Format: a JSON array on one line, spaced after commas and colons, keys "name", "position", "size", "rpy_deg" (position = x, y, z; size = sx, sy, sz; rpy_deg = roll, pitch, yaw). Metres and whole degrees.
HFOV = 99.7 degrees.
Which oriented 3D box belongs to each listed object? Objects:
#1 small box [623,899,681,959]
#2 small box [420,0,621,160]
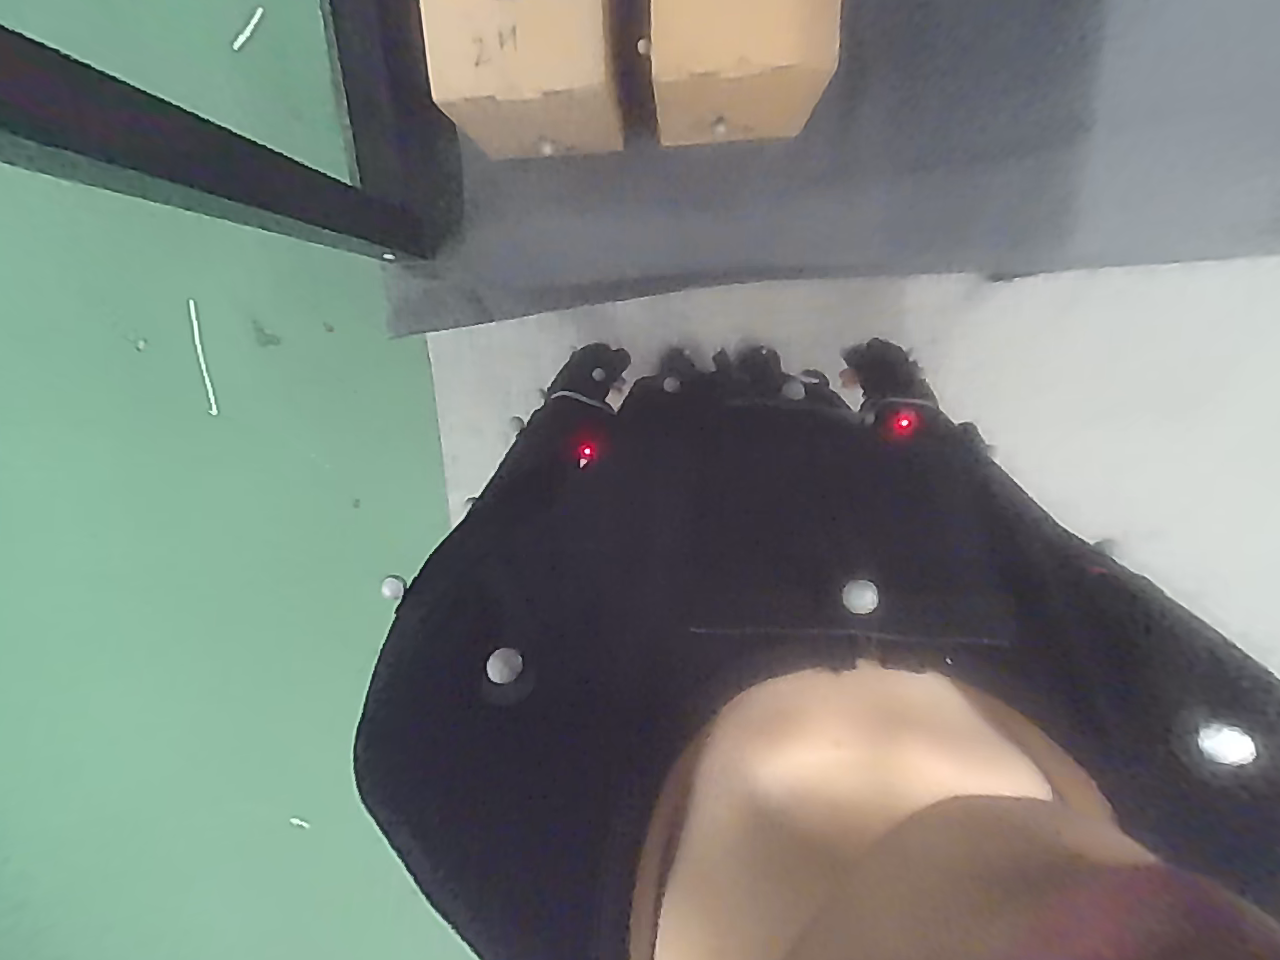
[{"name": "small box", "position": [0.044, 1.522, 1.783], "size": [0.168, 0.176, 0.179], "rpy_deg": [-8, 103, 7]}, {"name": "small box", "position": [-0.111, -0.456, 0.554], "size": [0.168, 0.176, 0.179], "rpy_deg": [-1, 103, 5]}]
